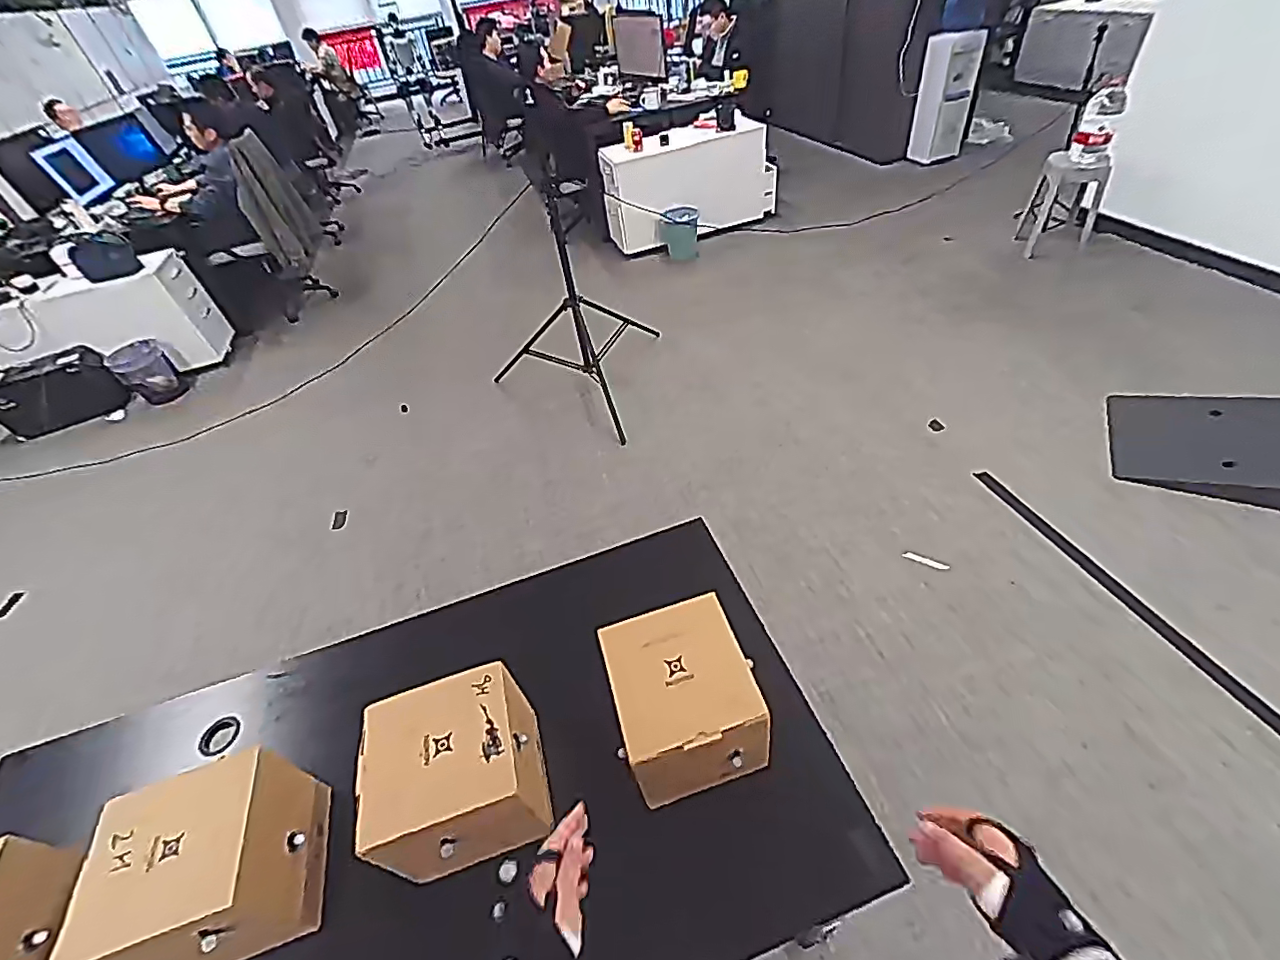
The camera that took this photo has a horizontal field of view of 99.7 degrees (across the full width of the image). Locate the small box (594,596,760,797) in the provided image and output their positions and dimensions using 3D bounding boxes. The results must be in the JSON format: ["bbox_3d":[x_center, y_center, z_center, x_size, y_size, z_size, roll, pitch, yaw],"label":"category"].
[{"bbox_3d":[0.049,0.291,0.714,0.168,0.176,0.179,-16,43,-7],"label":"small box"}]

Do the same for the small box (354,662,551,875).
[{"bbox_3d":[-0.229,0.369,0.688,0.179,0.176,0.168,-18,45,-6],"label":"small box"}]

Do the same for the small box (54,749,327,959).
[{"bbox_3d":[-0.505,0.460,0.645,0.179,0.176,0.168,-18,44,-9],"label":"small box"}]
